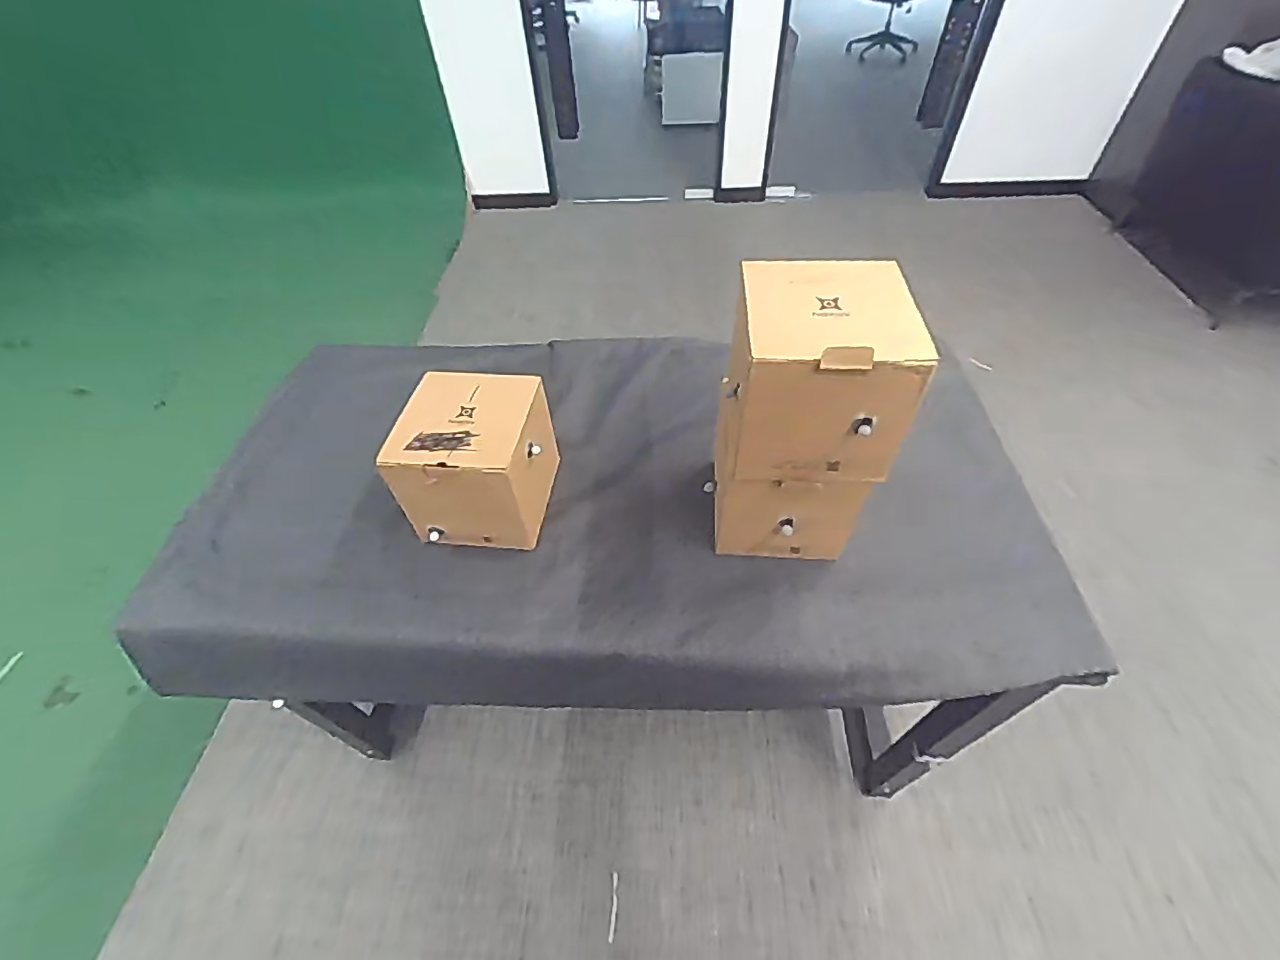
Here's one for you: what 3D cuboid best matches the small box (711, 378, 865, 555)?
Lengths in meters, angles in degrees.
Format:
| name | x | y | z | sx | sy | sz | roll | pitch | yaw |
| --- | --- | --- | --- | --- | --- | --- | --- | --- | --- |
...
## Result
| name | x | y | z | sx | sy | sz | roll | pitch | yaw |
| --- | --- | --- | --- | --- | --- | --- | --- | --- | --- |
| small box | 0.184 | -0.016 | 0.723 | 0.168 | 0.176 | 0.179 | 2 | 50 | 5 |

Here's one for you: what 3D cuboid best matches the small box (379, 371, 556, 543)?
| name | x | y | z | sx | sy | sz | roll | pitch | yaw |
| --- | --- | --- | --- | --- | --- | --- | --- | --- | --- |
| small box | -0.221 | -0.030 | 0.753 | 0.168 | 0.176 | 0.179 | 4 | 49 | 5 |

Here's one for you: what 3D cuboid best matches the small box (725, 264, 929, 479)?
| name | x | y | z | sx | sy | sz | roll | pitch | yaw |
| --- | --- | --- | --- | --- | --- | --- | --- | --- | --- |
| small box | 0.184 | -0.117 | 0.595 | 0.168 | 0.176 | 0.179 | 2 | 49 | 3 |
